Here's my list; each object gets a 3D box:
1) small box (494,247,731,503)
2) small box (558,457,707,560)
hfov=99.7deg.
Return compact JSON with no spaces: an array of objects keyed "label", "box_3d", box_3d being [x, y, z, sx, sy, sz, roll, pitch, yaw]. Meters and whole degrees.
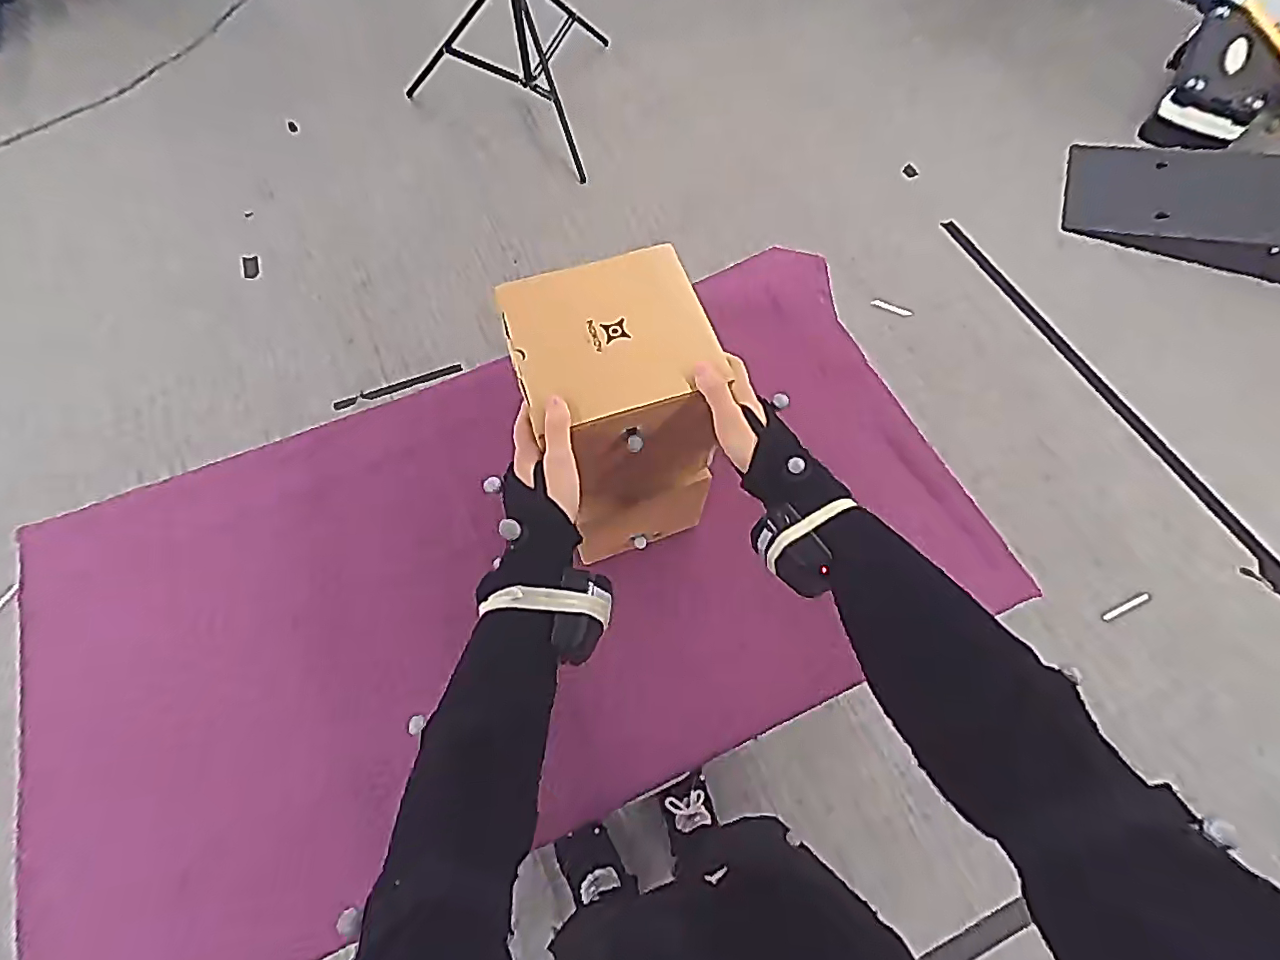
[{"label":"small box","box_3d":[-0.029,-0.096,0.551,0.179,0.176,0.168,-18,68,-7]},{"label":"small box","box_3d":[-0.030,-0.019,0.693,0.168,0.176,0.179,-19,69,-8]}]
